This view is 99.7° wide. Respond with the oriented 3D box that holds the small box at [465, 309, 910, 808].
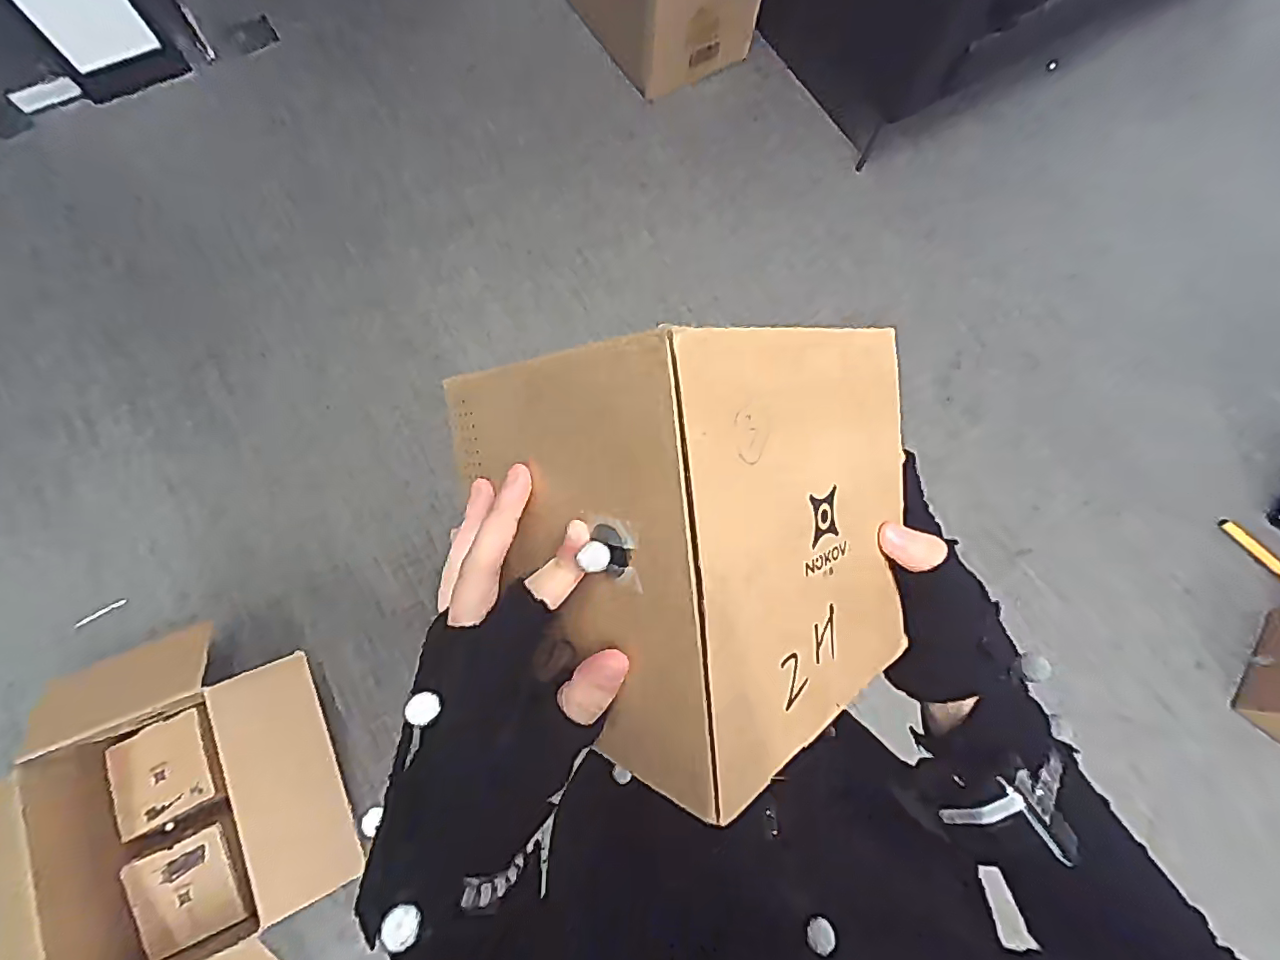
[{"bbox_3d":[0.024,0.018,0.290,0.168,0.176,0.179,-13,100,-42],"label":"small box"}]
